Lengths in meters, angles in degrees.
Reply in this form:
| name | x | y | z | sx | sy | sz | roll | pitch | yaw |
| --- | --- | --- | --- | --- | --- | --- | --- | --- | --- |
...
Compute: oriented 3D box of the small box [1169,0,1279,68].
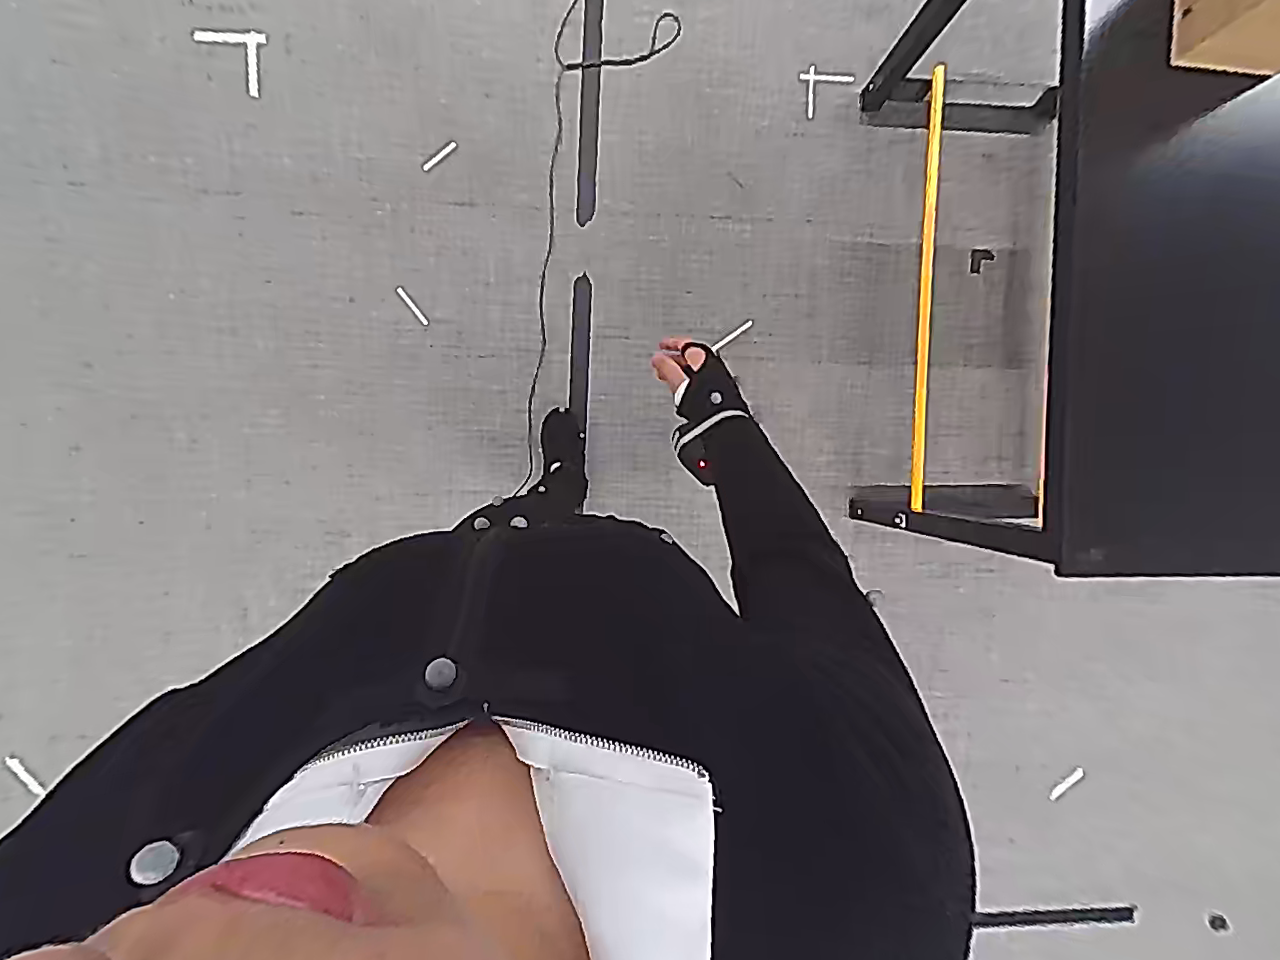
| name | x | y | z | sx | sy | sz | roll | pitch | yaw |
| --- | --- | --- | --- | --- | --- | --- | --- | --- | --- |
| small box | 0.870 | -0.688 | 0.713 | 0.179 | 0.176 | 0.168 | 2 | 92 | -4 |
